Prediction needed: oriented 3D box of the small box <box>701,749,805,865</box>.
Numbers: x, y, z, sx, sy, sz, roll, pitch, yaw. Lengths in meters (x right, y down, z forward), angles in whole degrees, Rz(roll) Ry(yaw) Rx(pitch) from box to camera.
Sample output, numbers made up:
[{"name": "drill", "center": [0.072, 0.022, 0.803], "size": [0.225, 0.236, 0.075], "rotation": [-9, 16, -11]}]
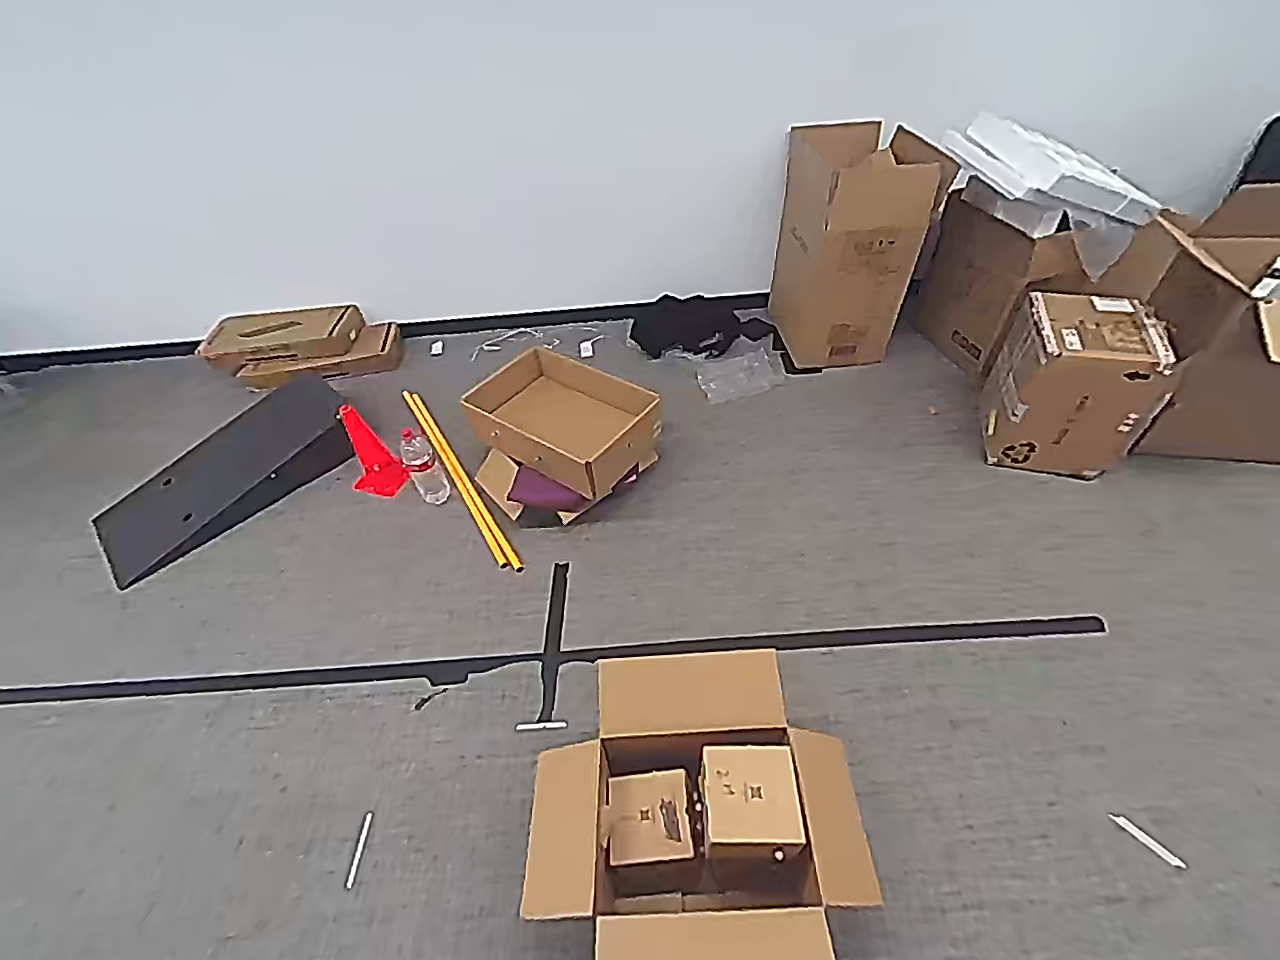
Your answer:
[{"name": "small box", "center": [0.214, 0.651, 1.077], "size": [0.179, 0.176, 0.168], "rotation": [-2, 45, 3]}]
